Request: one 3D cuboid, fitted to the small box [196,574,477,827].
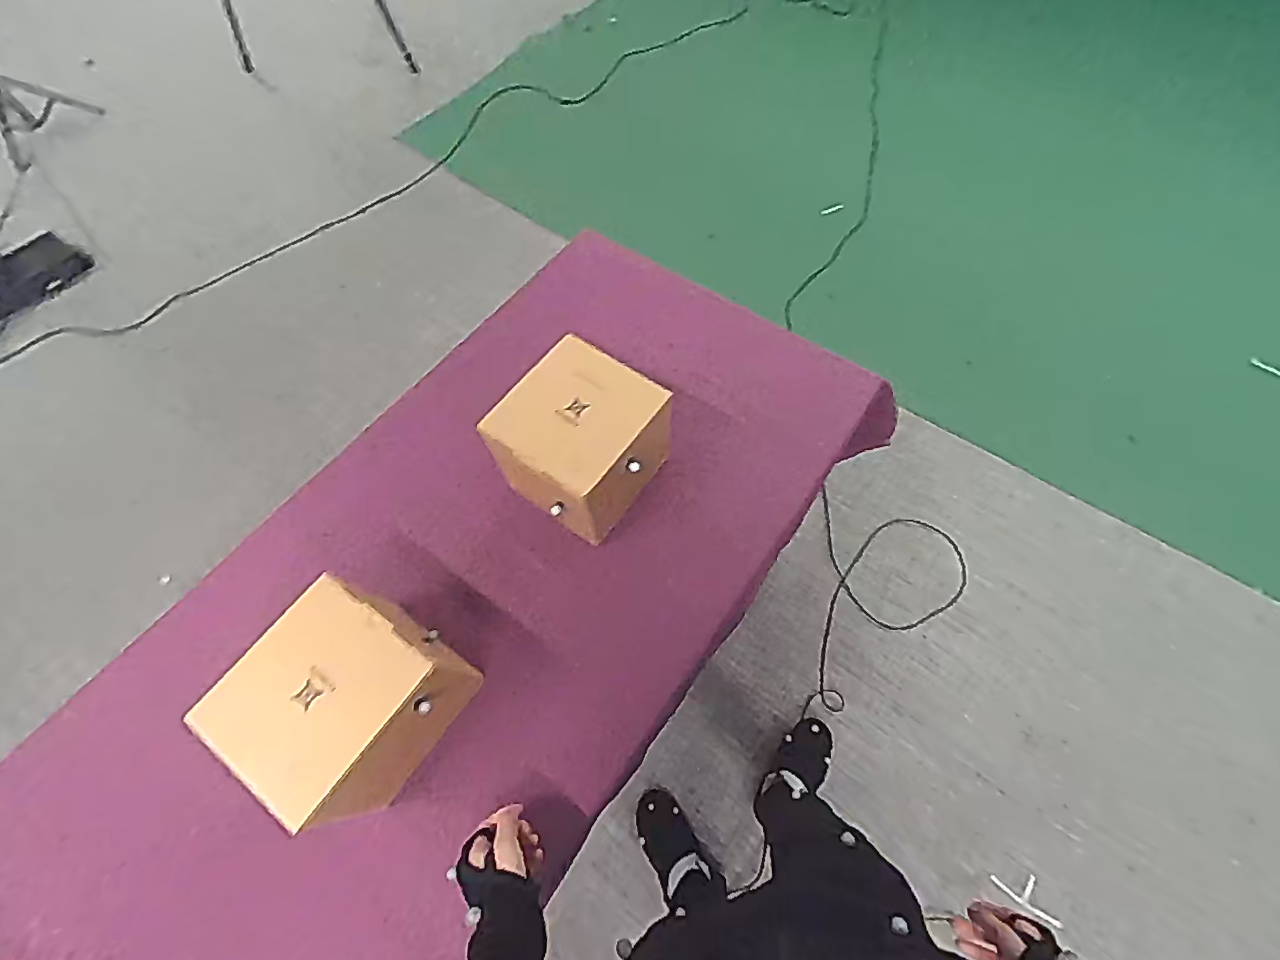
[{"bbox_3d":[-0.312,0.239,0.598,0.168,0.176,0.179,31,69,16],"label":"small box"}]

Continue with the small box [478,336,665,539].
[{"bbox_3d":[-0.078,-0.049,0.725,0.168,0.176,0.179,33,70,16],"label":"small box"}]
